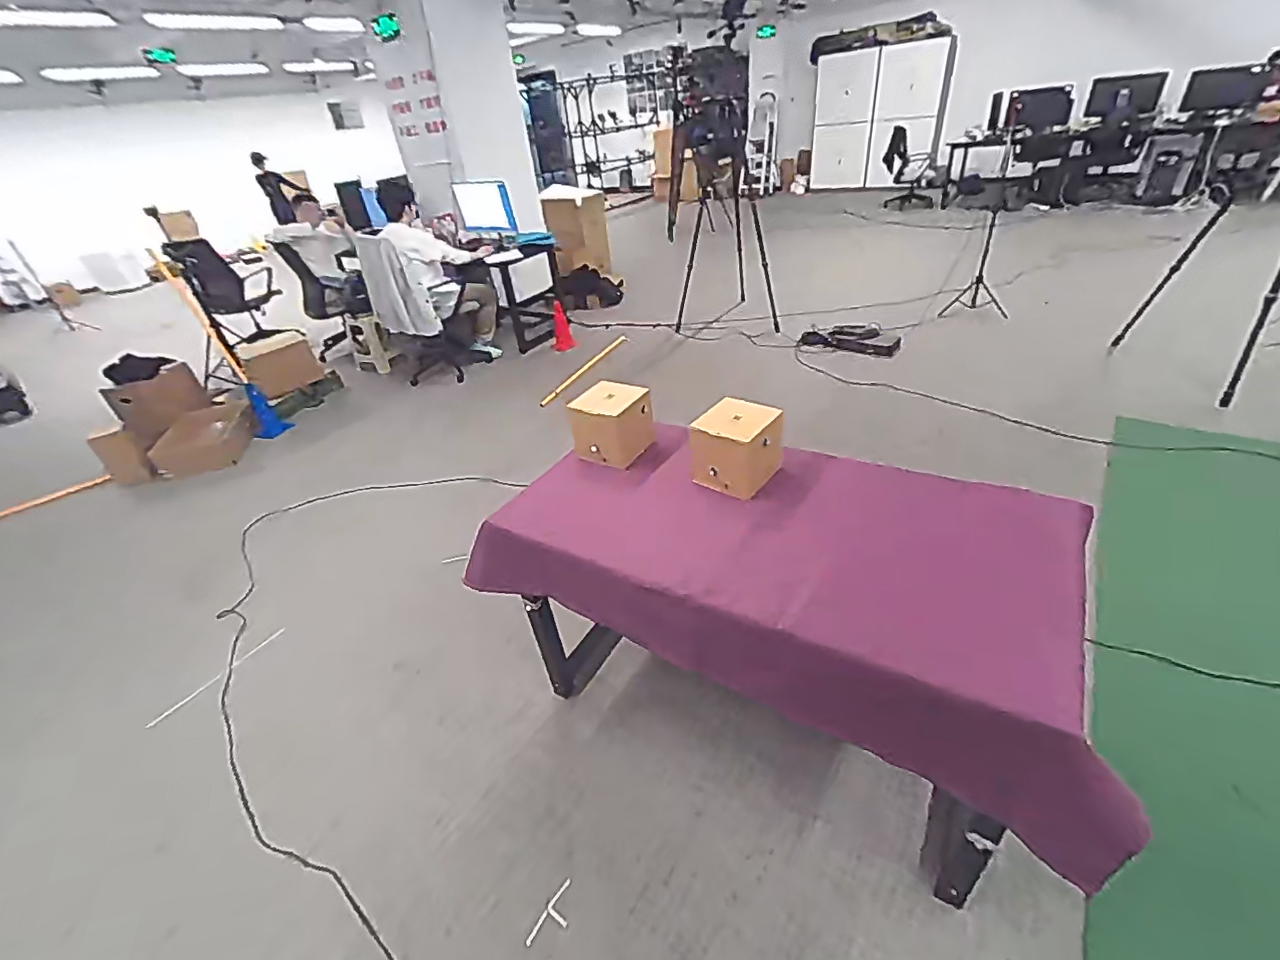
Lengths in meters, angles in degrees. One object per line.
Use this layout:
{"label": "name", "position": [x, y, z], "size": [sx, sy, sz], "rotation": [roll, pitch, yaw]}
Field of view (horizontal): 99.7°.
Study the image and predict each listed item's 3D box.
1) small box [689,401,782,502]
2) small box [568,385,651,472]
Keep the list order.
{"label": "small box", "position": [0.240, -0.074, 1.359], "size": [0.168, 0.176, 0.179], "rotation": [20, 44, 35]}
{"label": "small box", "position": [-0.079, -0.148, 1.528], "size": [0.168, 0.176, 0.179], "rotation": [15, 40, 30]}
